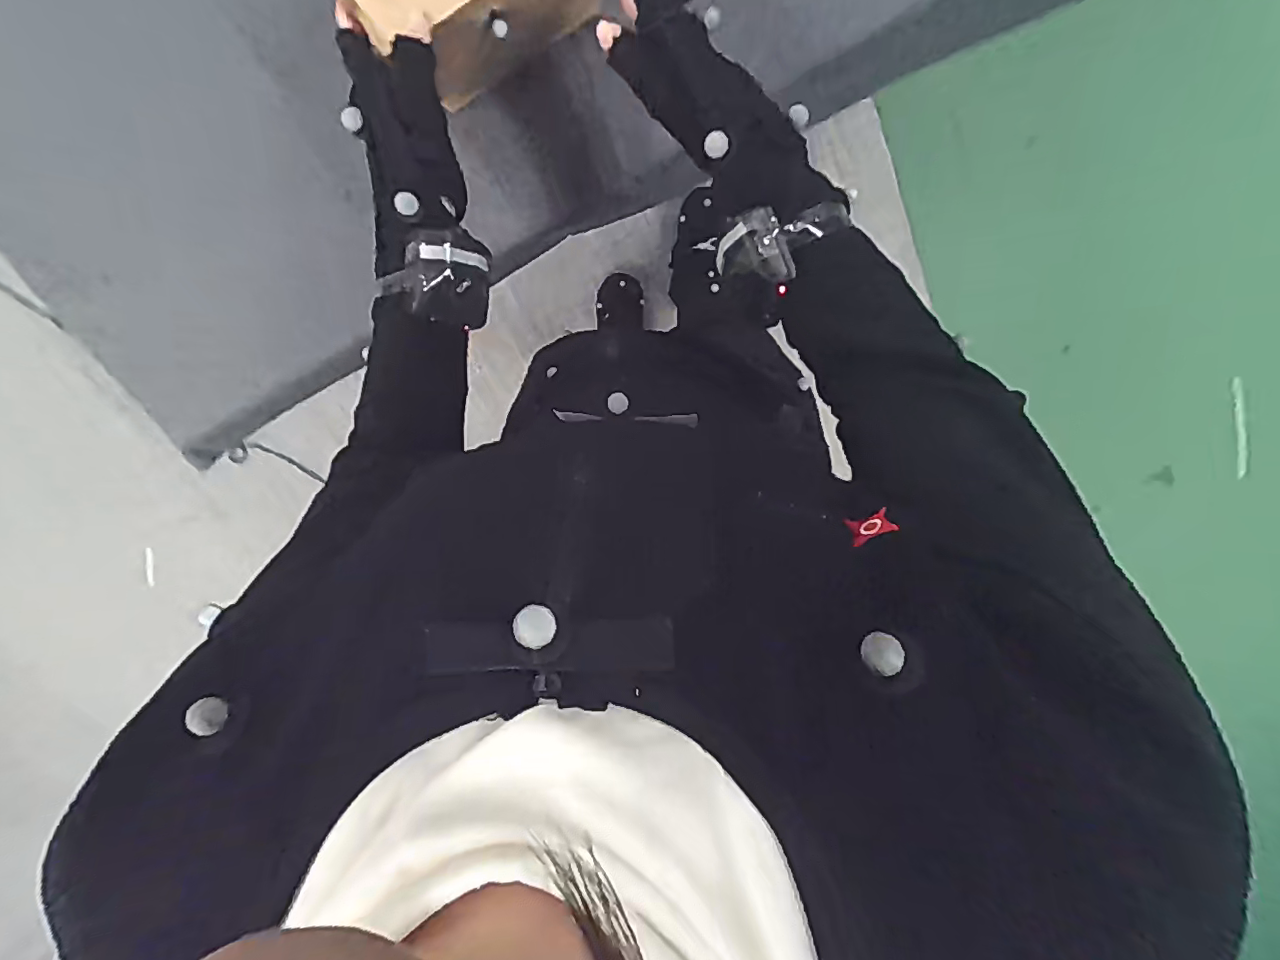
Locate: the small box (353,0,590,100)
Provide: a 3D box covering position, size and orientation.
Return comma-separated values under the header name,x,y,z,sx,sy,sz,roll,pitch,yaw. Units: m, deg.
name,x,y,z,sx,sy,sz,roll,pitch,yaw
small box,-0.148,-0.440,0.421,0.179,0.176,0.168,-28,112,9
